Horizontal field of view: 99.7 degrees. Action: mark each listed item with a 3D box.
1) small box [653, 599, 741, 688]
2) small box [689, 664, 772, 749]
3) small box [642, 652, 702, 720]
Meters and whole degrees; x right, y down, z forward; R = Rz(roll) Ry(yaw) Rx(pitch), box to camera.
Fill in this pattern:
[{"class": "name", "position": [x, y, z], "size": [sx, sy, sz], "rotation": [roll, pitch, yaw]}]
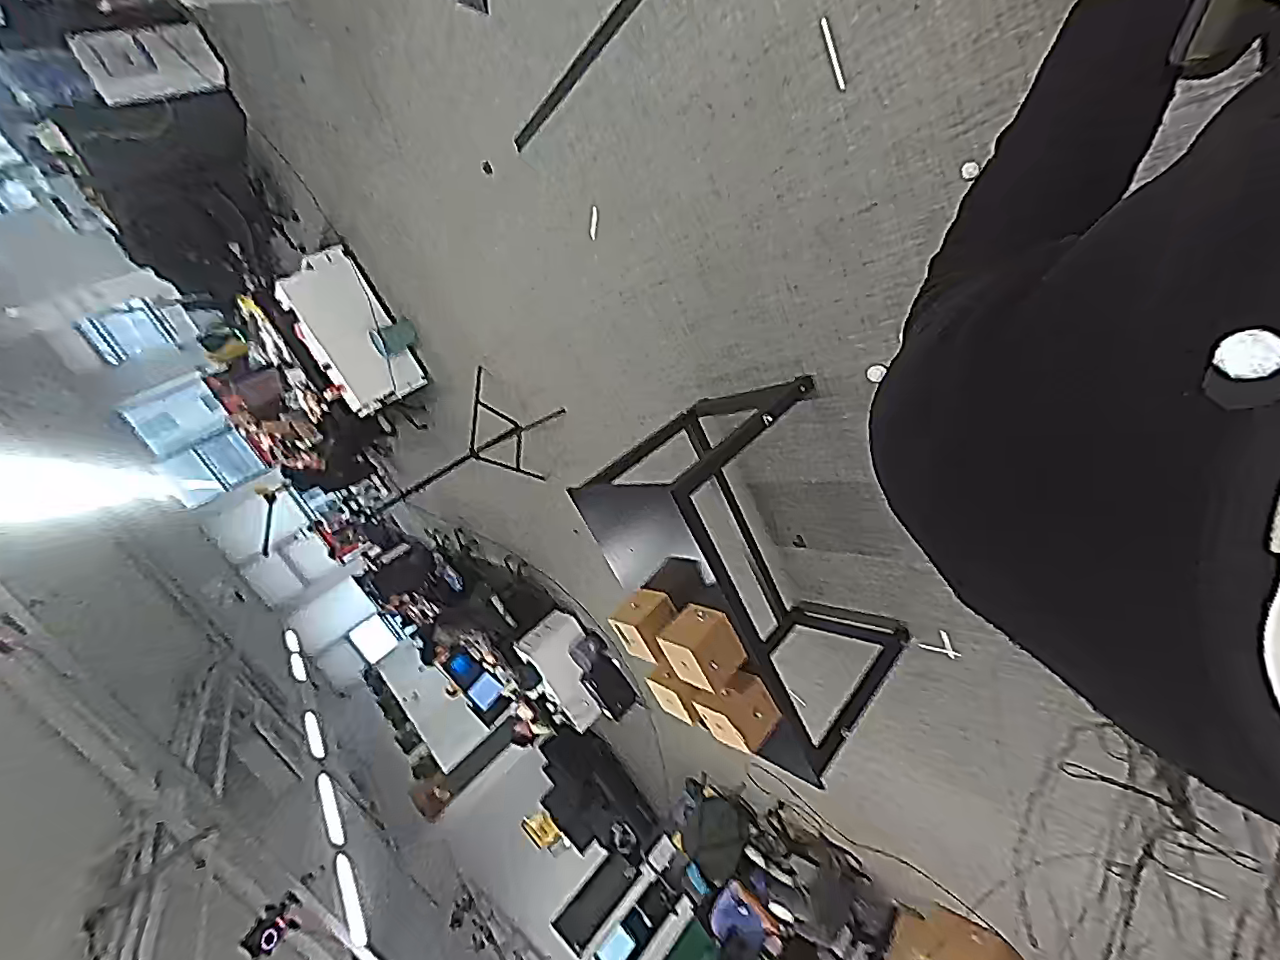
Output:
[{"class": "small box", "position": [0.180, 0.496, 1.660], "size": [0.168, 0.176, 0.179], "rotation": [-2, 120, 55]}, {"class": "small box", "position": [0.298, 0.714, 1.730], "size": [0.179, 0.176, 0.168], "rotation": [-10, 114, 57]}, {"class": "small box", "position": [0.146, 0.722, 1.955], "size": [0.179, 0.176, 0.168], "rotation": [1, 123, 54]}]
